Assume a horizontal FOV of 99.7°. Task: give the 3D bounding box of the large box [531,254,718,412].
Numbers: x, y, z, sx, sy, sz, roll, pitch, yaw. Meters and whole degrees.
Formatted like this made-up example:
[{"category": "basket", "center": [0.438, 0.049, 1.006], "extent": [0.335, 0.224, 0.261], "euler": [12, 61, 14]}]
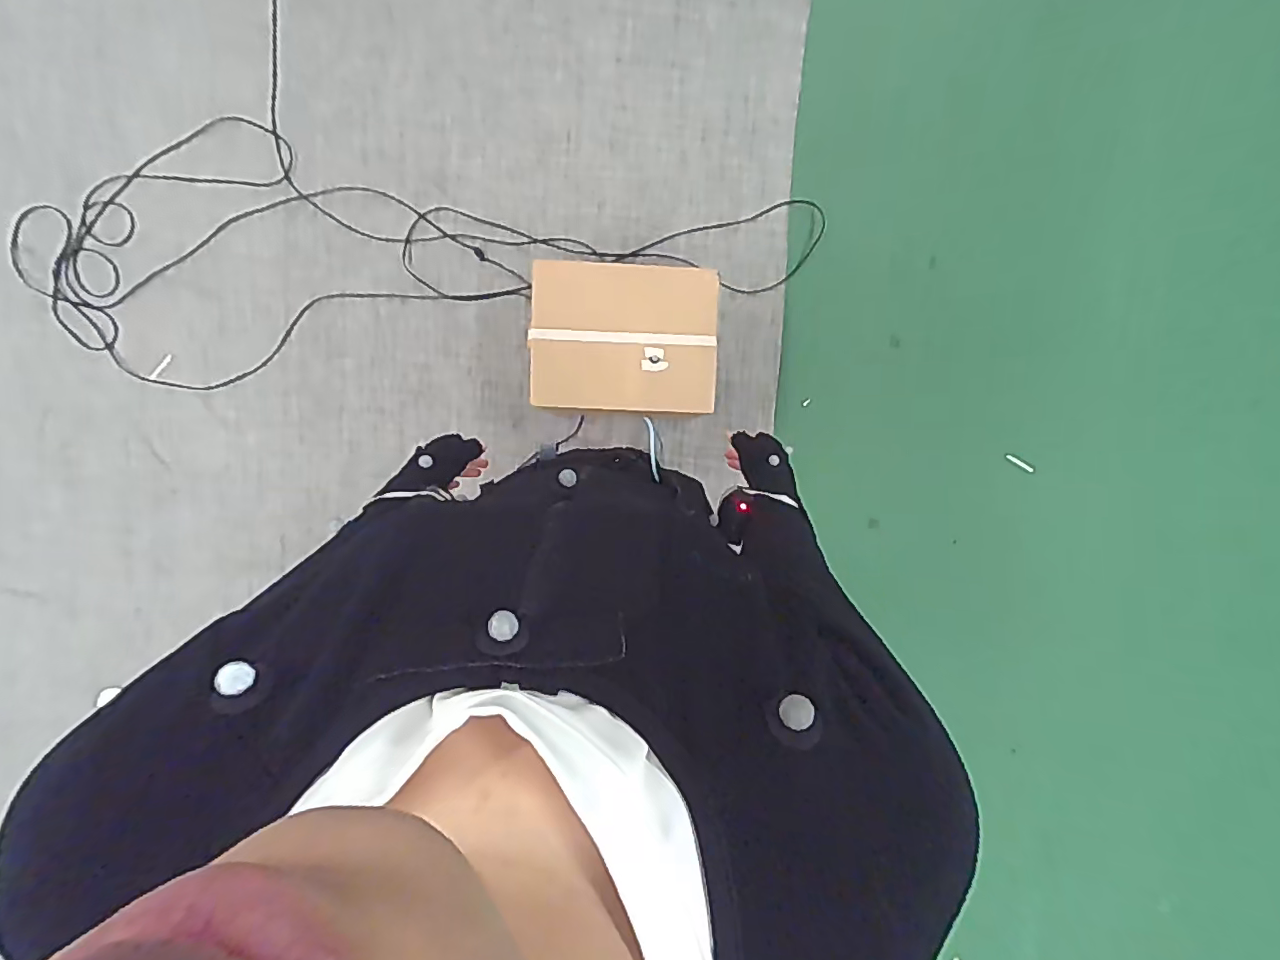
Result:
[{"category": "large box", "center": [-0.043, -0.332, 1.313], "extent": [0.408, 0.320, 0.320], "euler": [2, 95, -3]}]
